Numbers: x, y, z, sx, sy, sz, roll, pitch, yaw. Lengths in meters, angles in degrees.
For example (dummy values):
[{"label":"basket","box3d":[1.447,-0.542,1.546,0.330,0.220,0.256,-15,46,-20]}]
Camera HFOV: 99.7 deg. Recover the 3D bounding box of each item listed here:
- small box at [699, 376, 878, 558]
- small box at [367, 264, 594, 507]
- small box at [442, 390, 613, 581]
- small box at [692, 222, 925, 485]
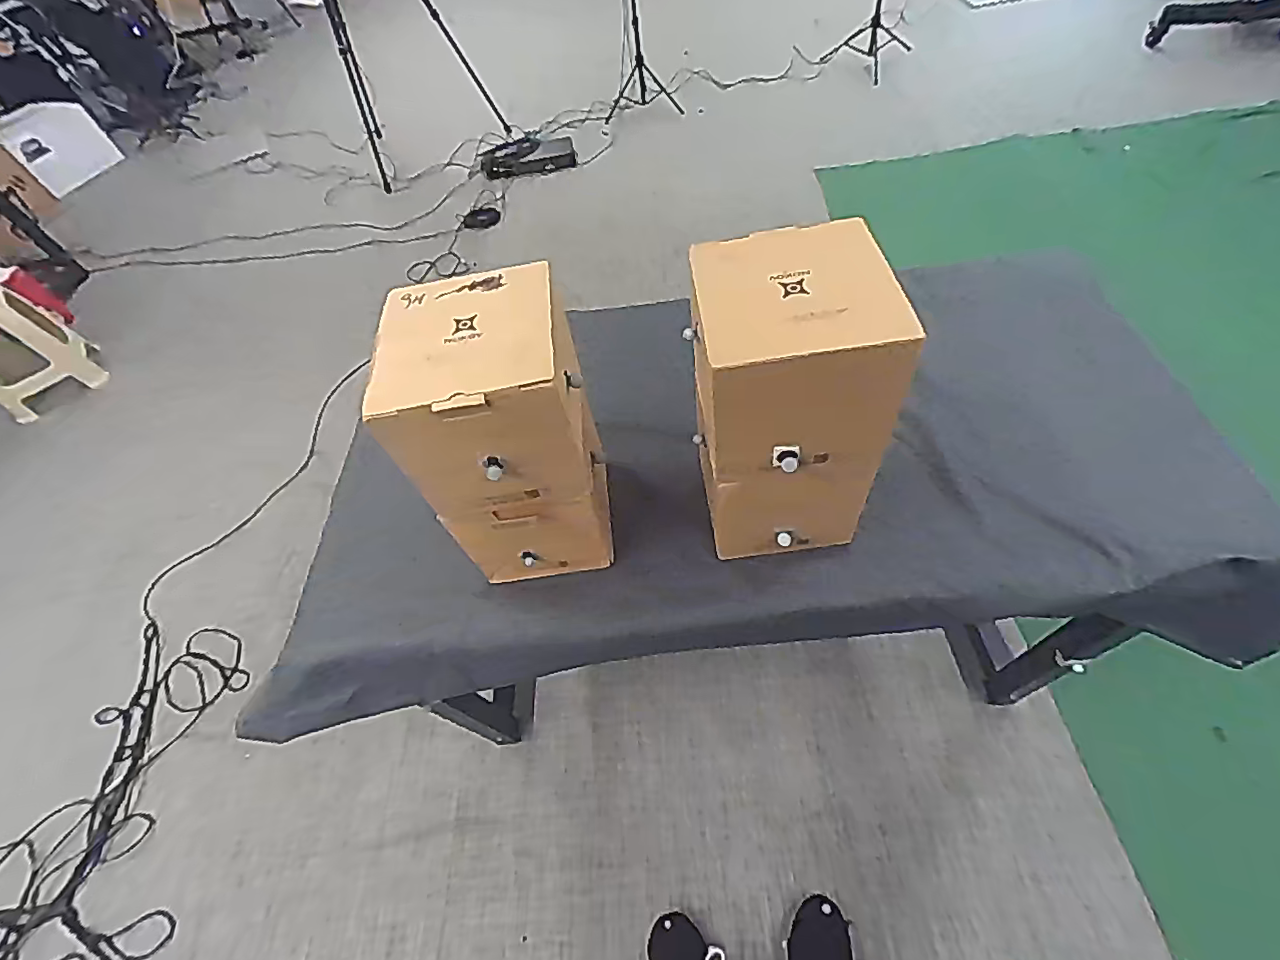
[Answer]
[{"label":"small box","box3d":[0.165,-0.026,0.663,0.168,0.176,0.179,-8,54,4]},{"label":"small box","box3d":[-0.146,-0.086,0.556,0.168,0.176,0.179,-10,55,1]},{"label":"small box","box3d":[-0.132,0.007,0.691,0.168,0.176,0.179,-9,54,2]},{"label":"small box","box3d":[0.144,-0.119,0.532,0.168,0.176,0.179,-8,54,5]}]
